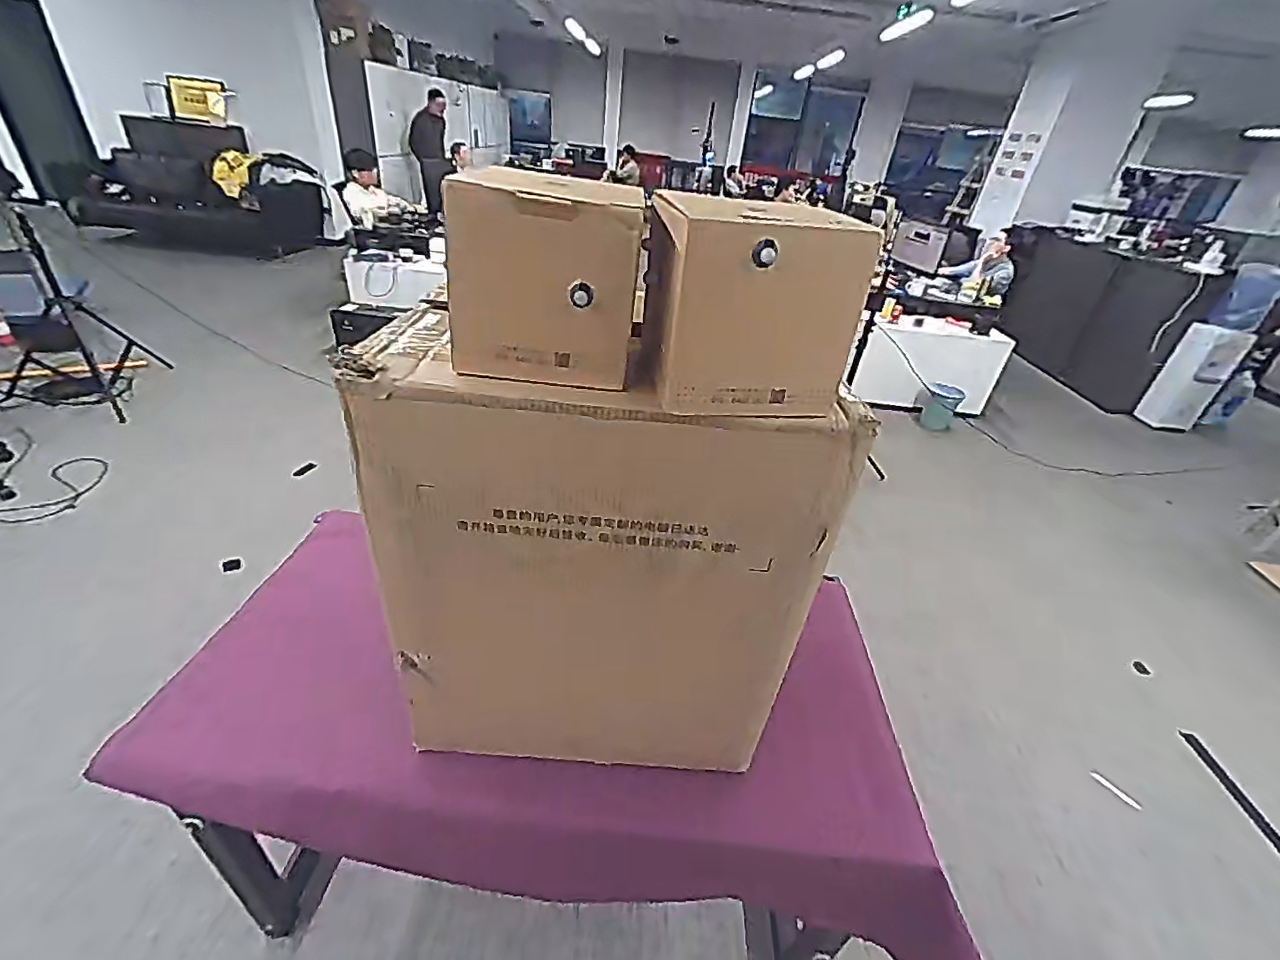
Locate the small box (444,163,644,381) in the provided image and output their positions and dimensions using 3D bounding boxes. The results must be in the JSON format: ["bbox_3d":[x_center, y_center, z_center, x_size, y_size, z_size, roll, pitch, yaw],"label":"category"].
[{"bbox_3d":[-0.088,-0.212,0.549,0.168,0.176,0.179,6,31,-6],"label":"small box"}]

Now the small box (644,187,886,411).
[{"bbox_3d":[0.100,-0.180,0.532,0.168,0.176,0.179,-1,32,-9],"label":"small box"}]
